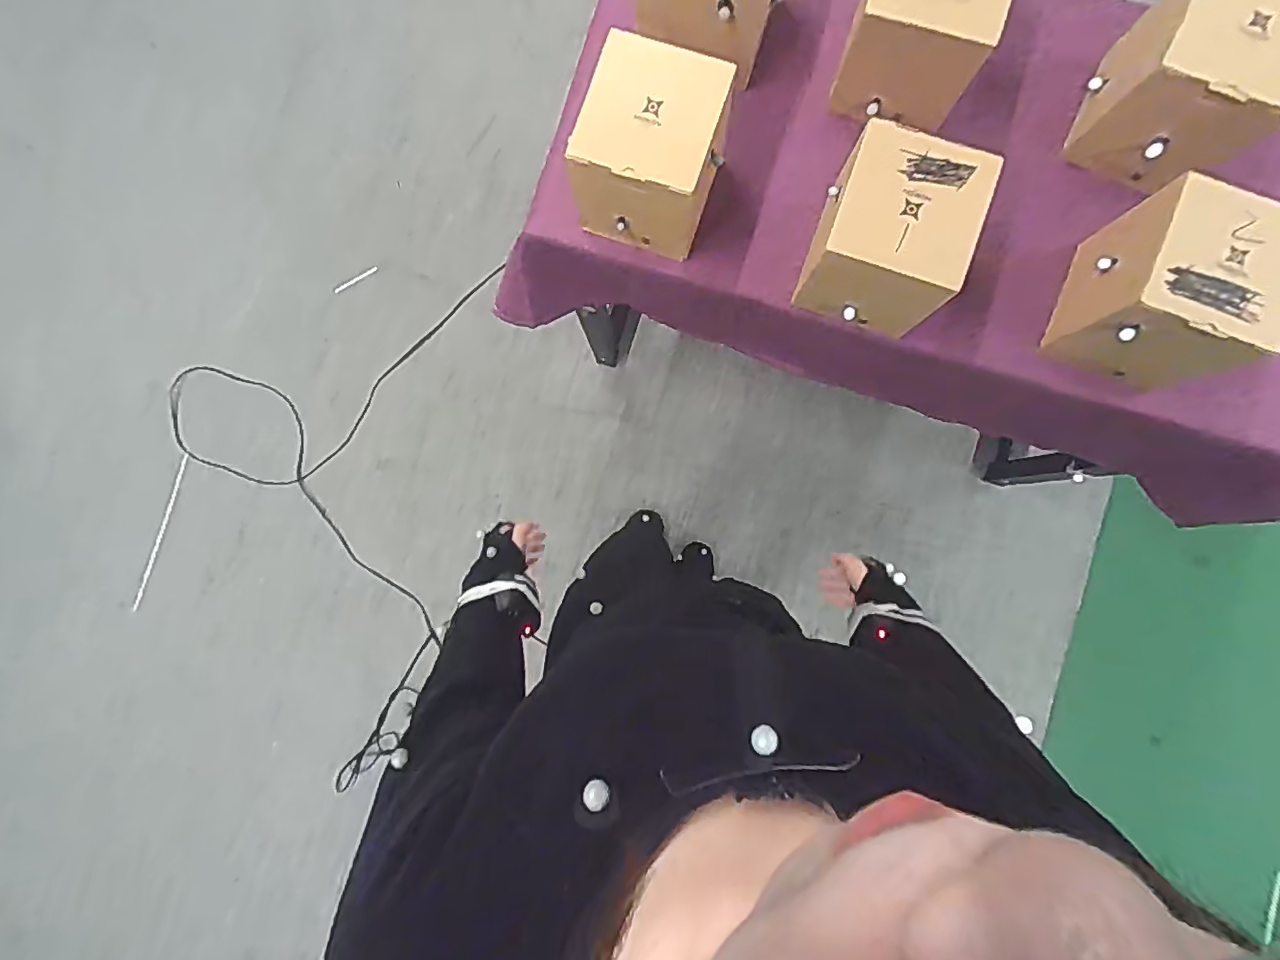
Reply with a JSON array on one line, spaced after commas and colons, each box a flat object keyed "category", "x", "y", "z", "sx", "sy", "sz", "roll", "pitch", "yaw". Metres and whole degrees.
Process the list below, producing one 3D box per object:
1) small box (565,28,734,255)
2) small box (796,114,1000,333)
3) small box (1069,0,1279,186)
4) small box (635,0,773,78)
[{"category": "small box", "x": 0.013, "y": -0.445, "z": 0.737, "sx": 0.168, "sy": 0.176, "sz": 0.179, "roll": 18, "pitch": 87, "yaw": 3}, {"category": "small box", "x": 0.322, "y": -0.322, "z": 0.712, "sx": 0.168, "sy": 0.176, "sz": 0.179, "roll": 19, "pitch": 87, "yaw": 4}, {"category": "small box", "x": 0.719, "y": -0.530, "z": 0.707, "sx": 0.168, "sy": 0.176, "sz": 0.179, "roll": 24, "pitch": 89, "yaw": 3}, {"category": "small box", "x": 0.099, "y": -0.703, "z": 0.749, "sx": 0.179, "sy": 0.176, "sz": 0.168, "roll": 19, "pitch": 87, "yaw": 4}]
